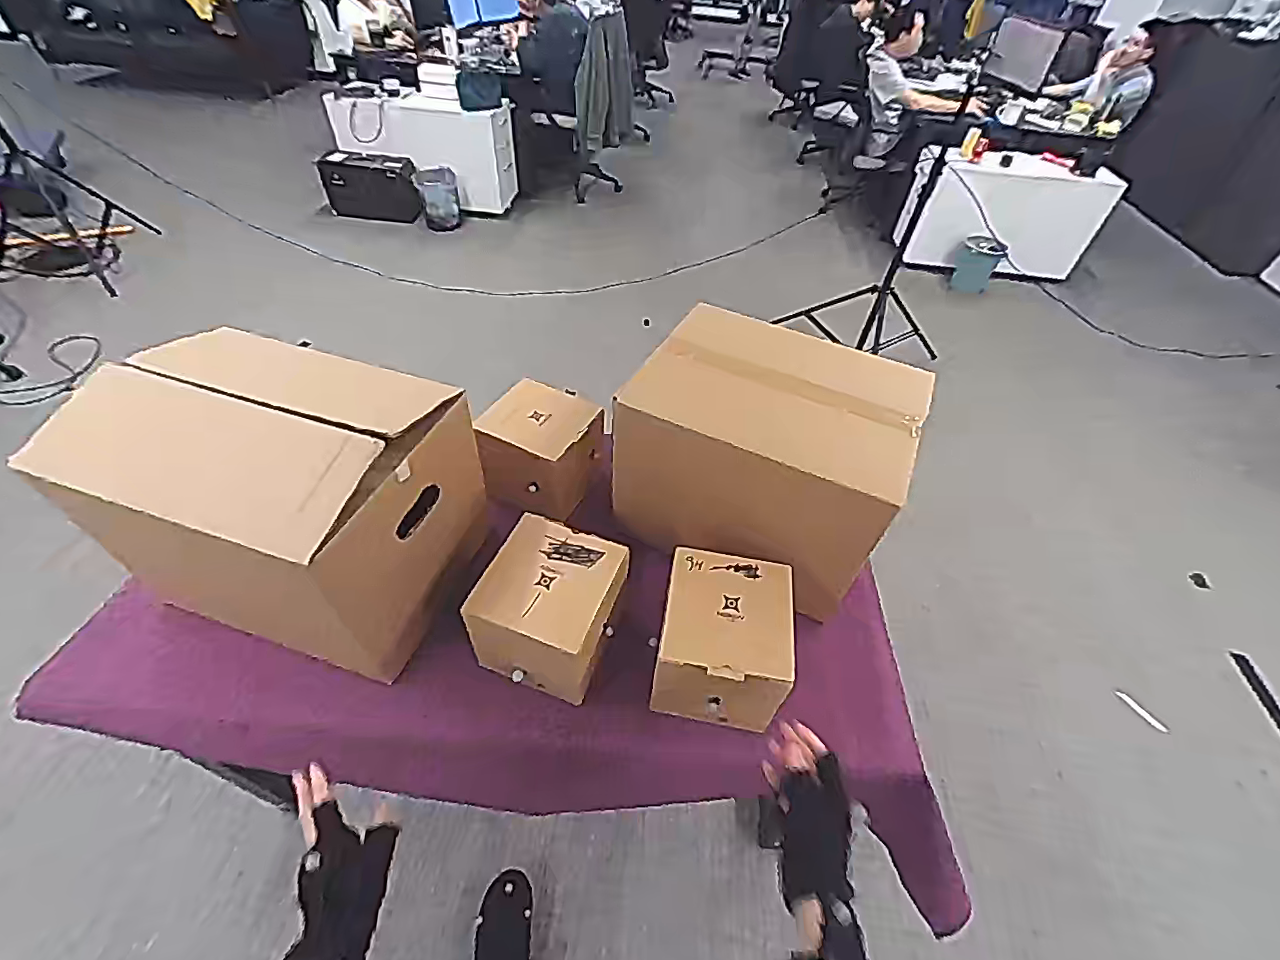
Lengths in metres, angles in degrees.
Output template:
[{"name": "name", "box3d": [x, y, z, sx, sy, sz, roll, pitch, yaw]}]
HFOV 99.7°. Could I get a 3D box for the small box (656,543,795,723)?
[{"name": "small box", "box3d": [0.117, 0.218, 0.761, 0.168, 0.176, 0.179, 9, 47, 6]}]
